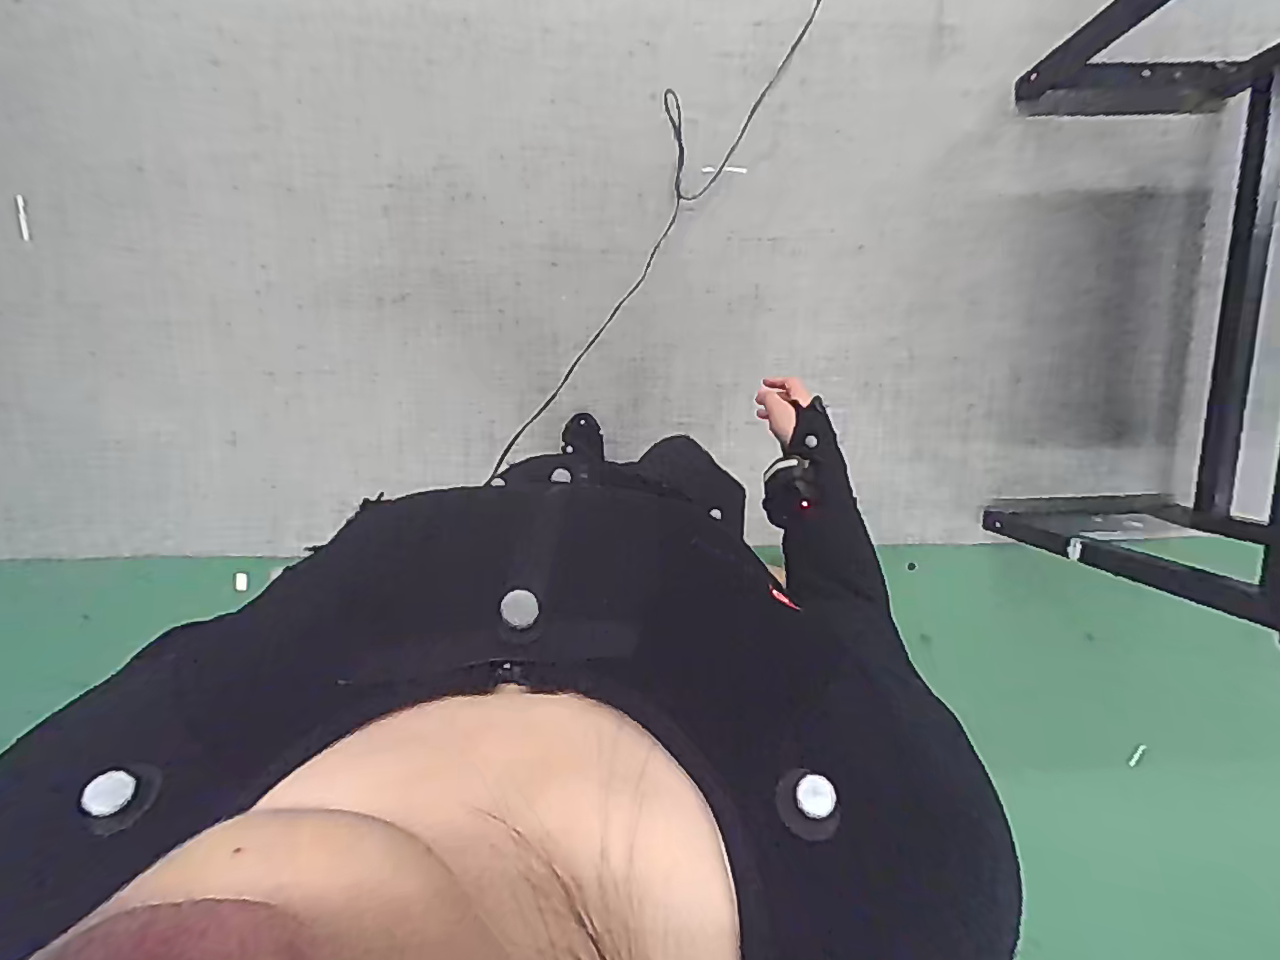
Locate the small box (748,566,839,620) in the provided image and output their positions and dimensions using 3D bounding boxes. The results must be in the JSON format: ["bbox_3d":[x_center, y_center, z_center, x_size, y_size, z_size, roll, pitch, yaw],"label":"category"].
[{"bbox_3d":[0.408,0.351,1.469,0.168,0.176,0.179,15,98,-4],"label":"small box"}]
